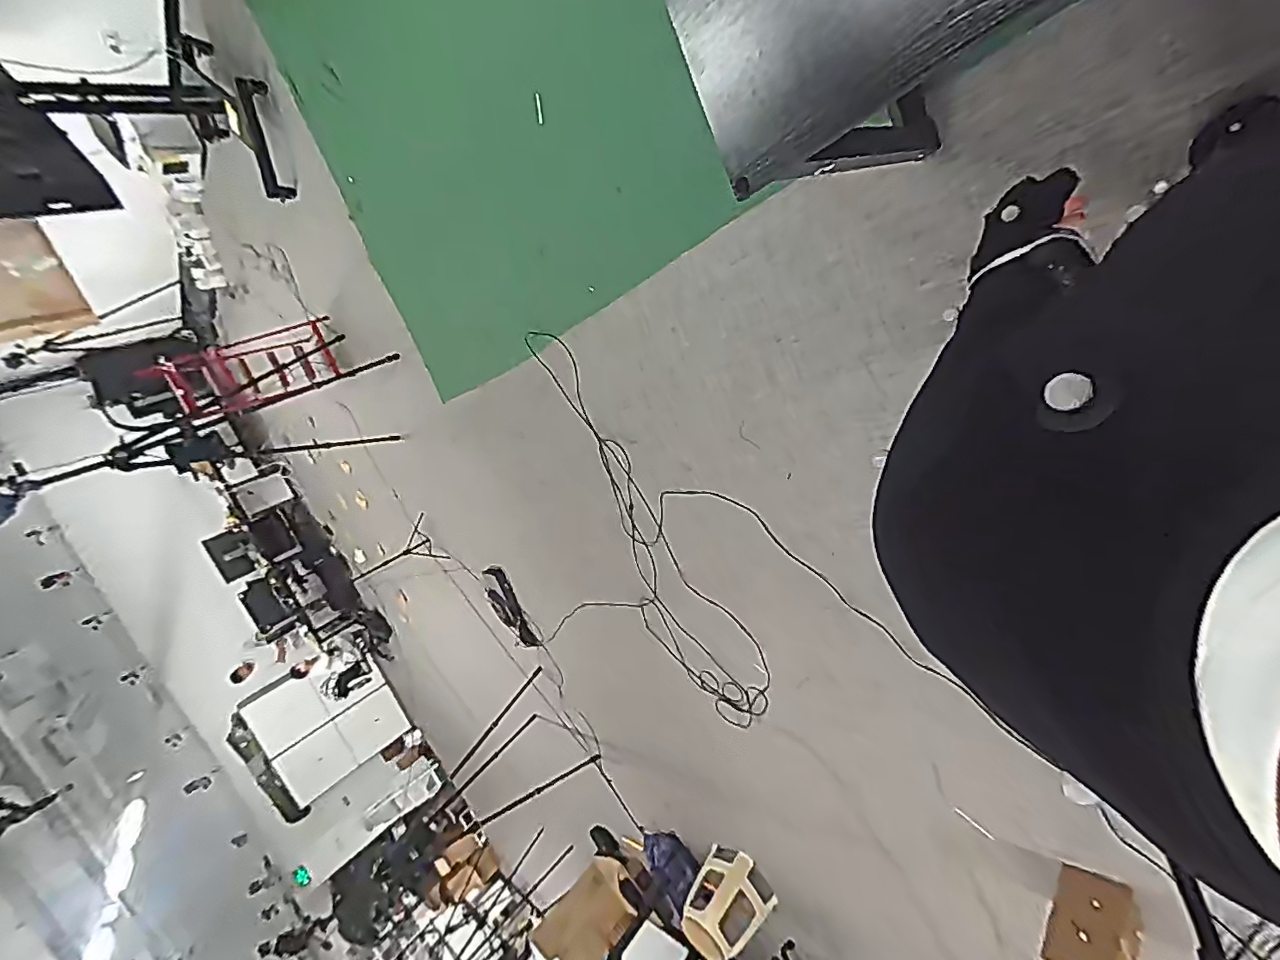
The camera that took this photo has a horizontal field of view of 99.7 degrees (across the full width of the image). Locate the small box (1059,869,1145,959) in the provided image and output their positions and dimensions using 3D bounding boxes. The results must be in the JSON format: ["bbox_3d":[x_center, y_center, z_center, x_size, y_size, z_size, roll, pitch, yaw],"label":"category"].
[{"bbox_3d":[1.405,1.339,1.642,0.179,0.176,0.168,-9,107,49],"label":"small box"}]

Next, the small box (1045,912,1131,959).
[{"bbox_3d":[1.291,1.408,1.545,0.168,0.176,0.179,-8,108,49],"label":"small box"}]
